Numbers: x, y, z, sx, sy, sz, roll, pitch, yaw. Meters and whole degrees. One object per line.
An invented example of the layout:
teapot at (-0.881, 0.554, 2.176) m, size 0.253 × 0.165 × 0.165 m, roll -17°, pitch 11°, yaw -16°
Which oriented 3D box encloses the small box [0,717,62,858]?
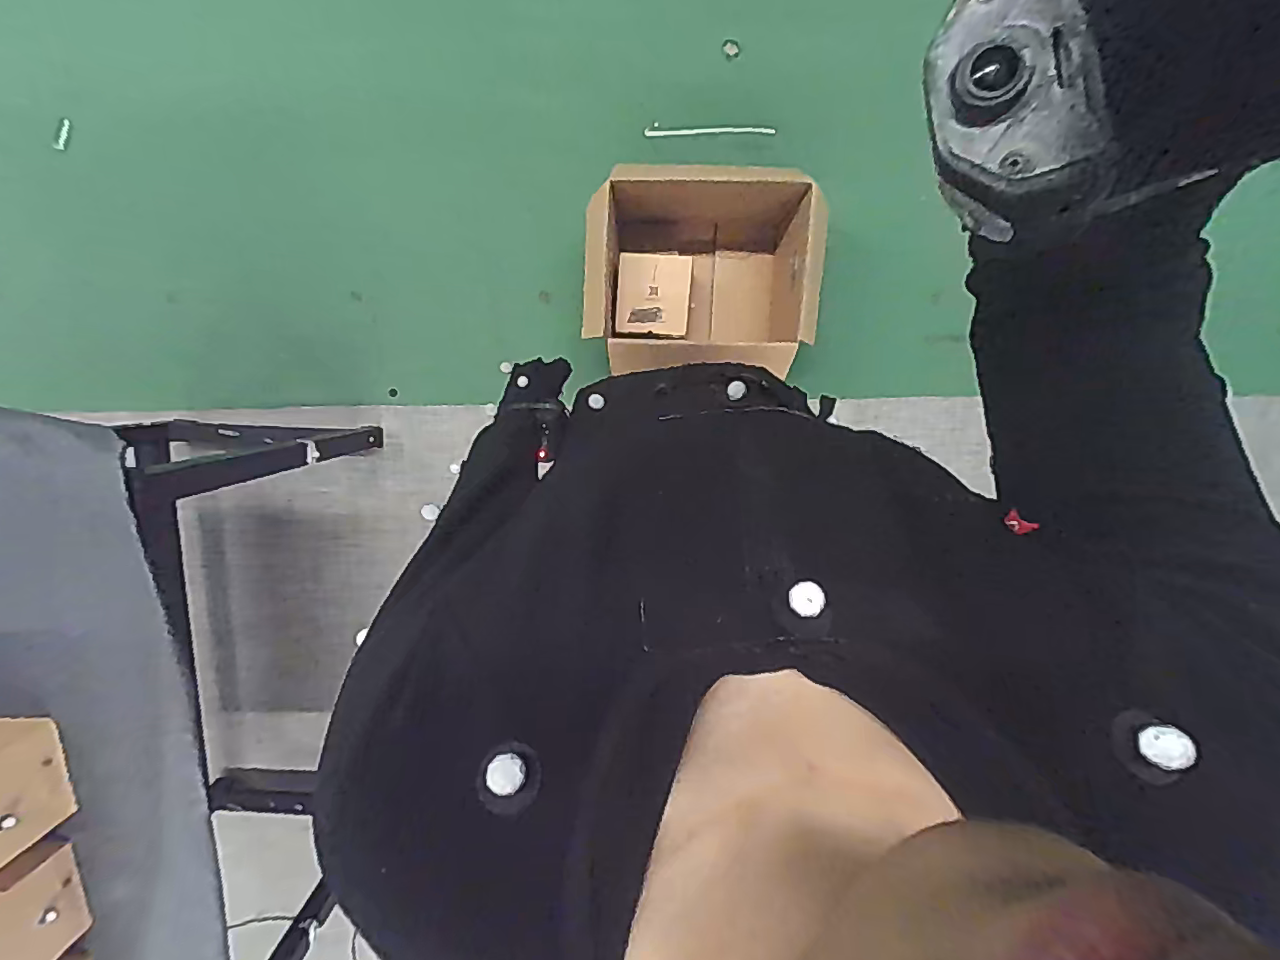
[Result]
small box at (-0.990, 0.457, 0.768) m, size 0.179 × 0.176 × 0.168 m, roll -1°, pitch 101°, yaw 2°

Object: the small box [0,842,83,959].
small box at (-1.014, 0.676, 0.809) m, size 0.179 × 0.176 × 0.168 m, roll -2°, pitch 101°, yaw 2°
